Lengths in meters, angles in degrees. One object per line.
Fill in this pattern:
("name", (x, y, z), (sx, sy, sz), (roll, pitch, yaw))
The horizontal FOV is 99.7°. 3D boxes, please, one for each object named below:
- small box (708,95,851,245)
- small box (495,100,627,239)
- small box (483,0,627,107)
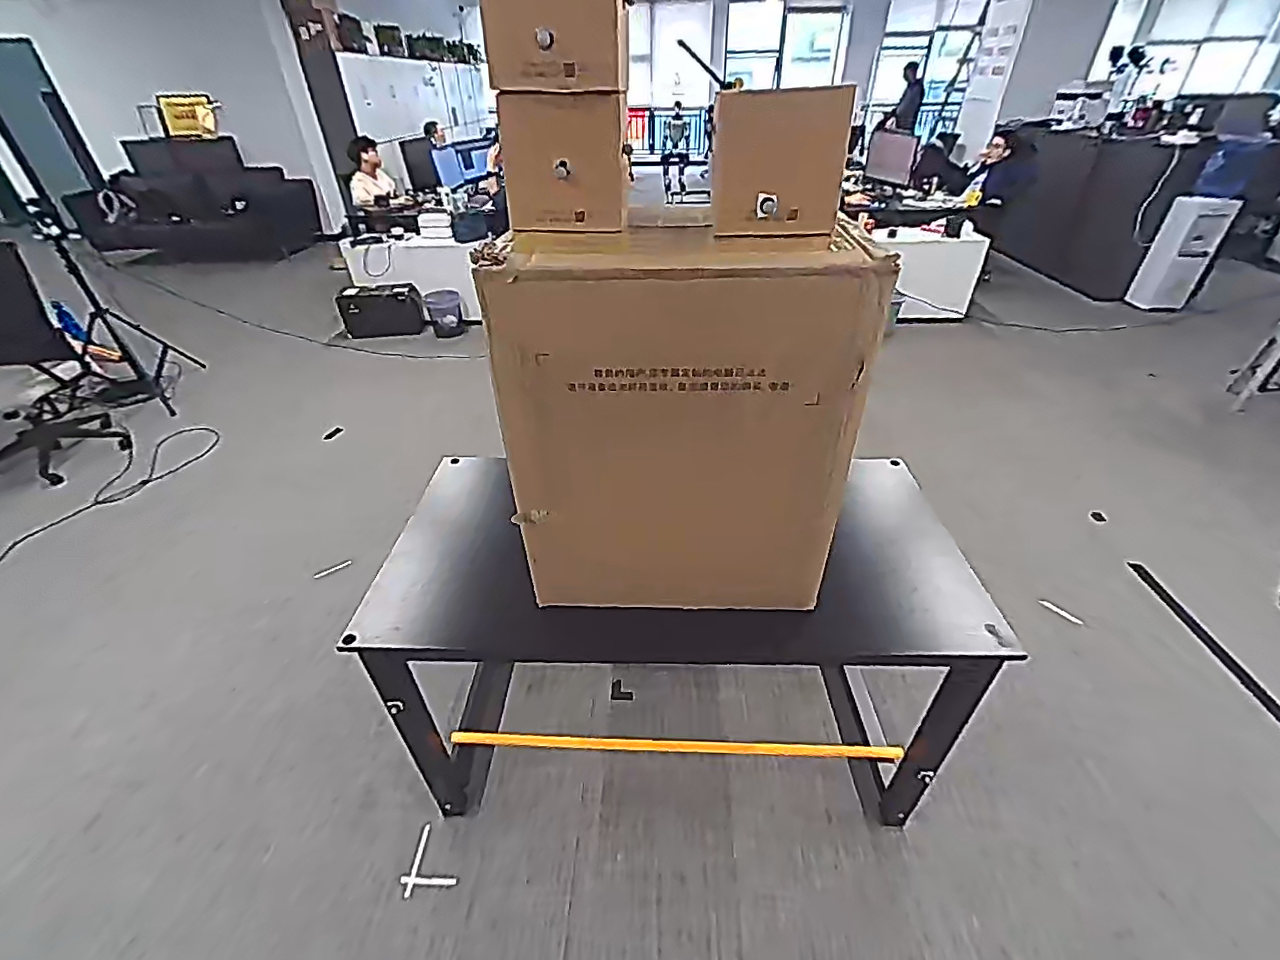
("small box", (0.185, -0.445, 0.776), (0.168, 0.176, 0.179), (0, 36, 5))
("small box", (-0.107, -0.471, 0.818), (0.168, 0.176, 0.179), (1, 36, 1))
("small box", (-0.104, -0.596, 0.709), (0.168, 0.176, 0.179), (2, 36, 2))
